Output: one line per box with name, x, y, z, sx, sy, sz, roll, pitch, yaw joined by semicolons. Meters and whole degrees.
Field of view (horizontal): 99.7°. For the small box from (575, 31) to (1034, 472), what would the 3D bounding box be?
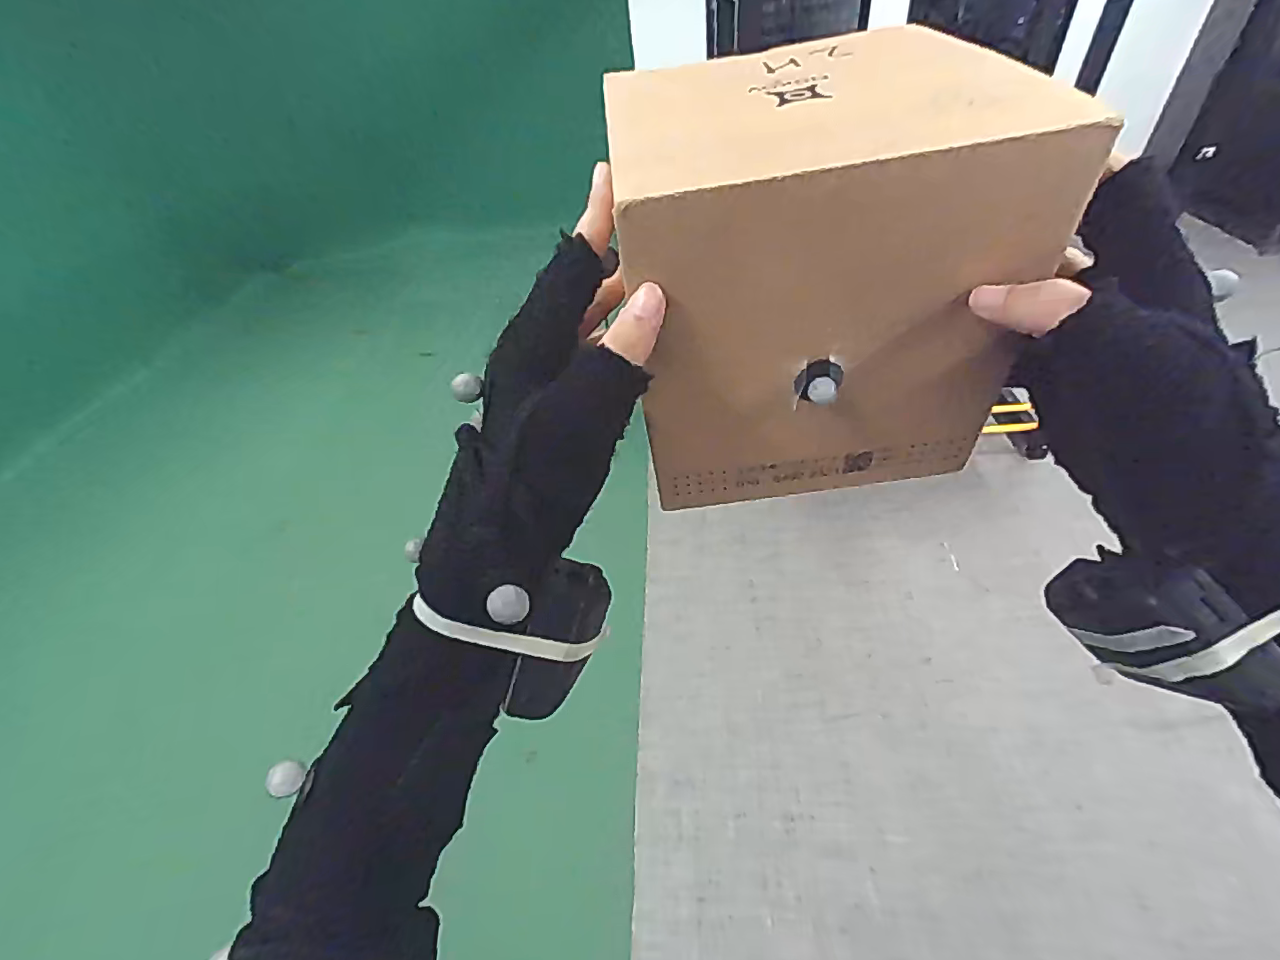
small box;0.064;-0.118;0.304;0.168;0.176;0.179;-7;46;3
